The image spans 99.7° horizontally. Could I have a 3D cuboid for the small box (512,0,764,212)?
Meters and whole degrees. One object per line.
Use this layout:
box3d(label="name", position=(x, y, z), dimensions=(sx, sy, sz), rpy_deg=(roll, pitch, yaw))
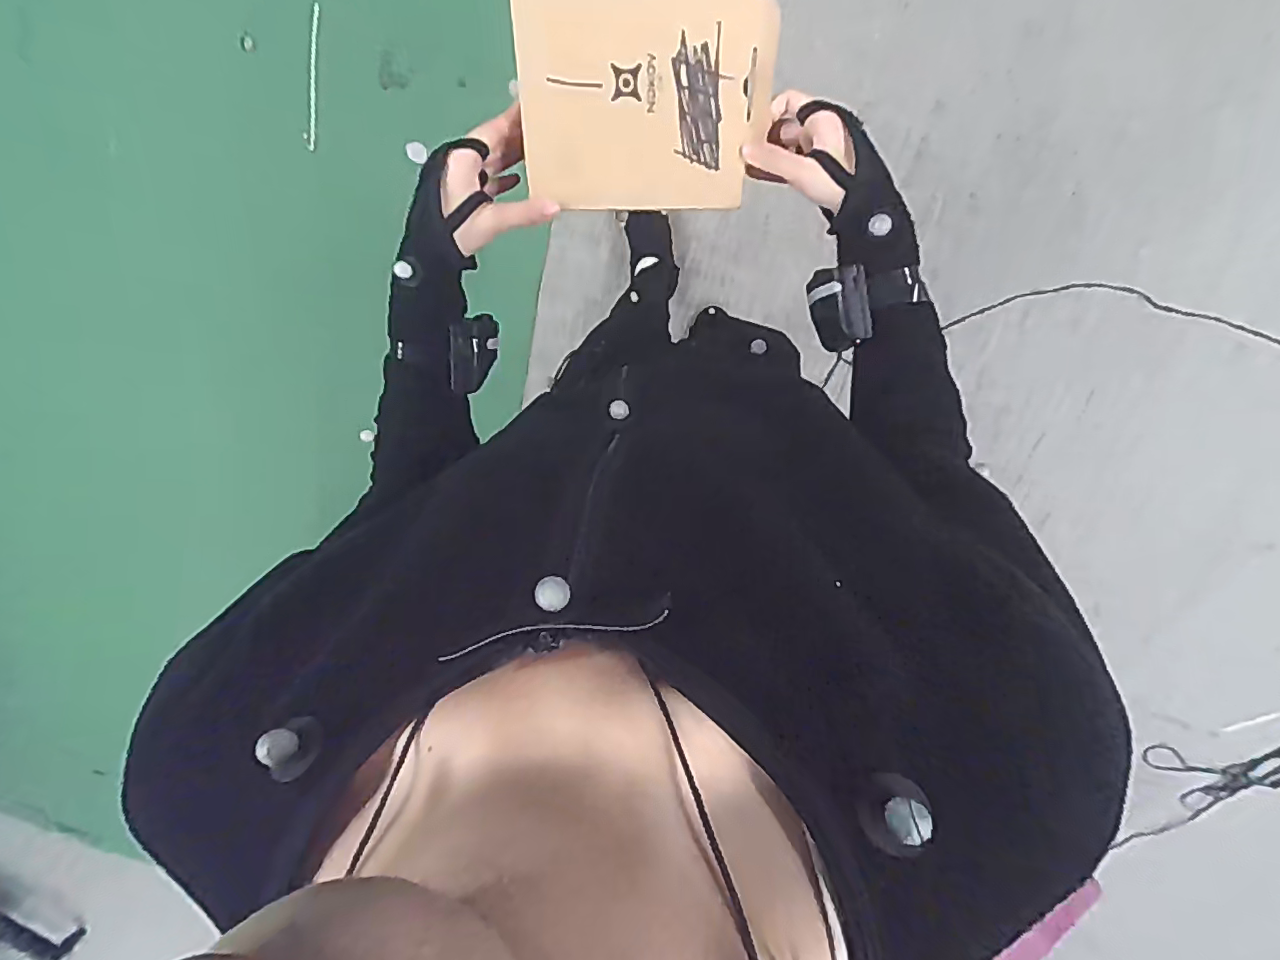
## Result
box3d(label="small box", position=(-0.009, -0.329, 0.461), dimensions=(0.179, 0.176, 0.168), rpy_deg=(-2, 120, -5))
